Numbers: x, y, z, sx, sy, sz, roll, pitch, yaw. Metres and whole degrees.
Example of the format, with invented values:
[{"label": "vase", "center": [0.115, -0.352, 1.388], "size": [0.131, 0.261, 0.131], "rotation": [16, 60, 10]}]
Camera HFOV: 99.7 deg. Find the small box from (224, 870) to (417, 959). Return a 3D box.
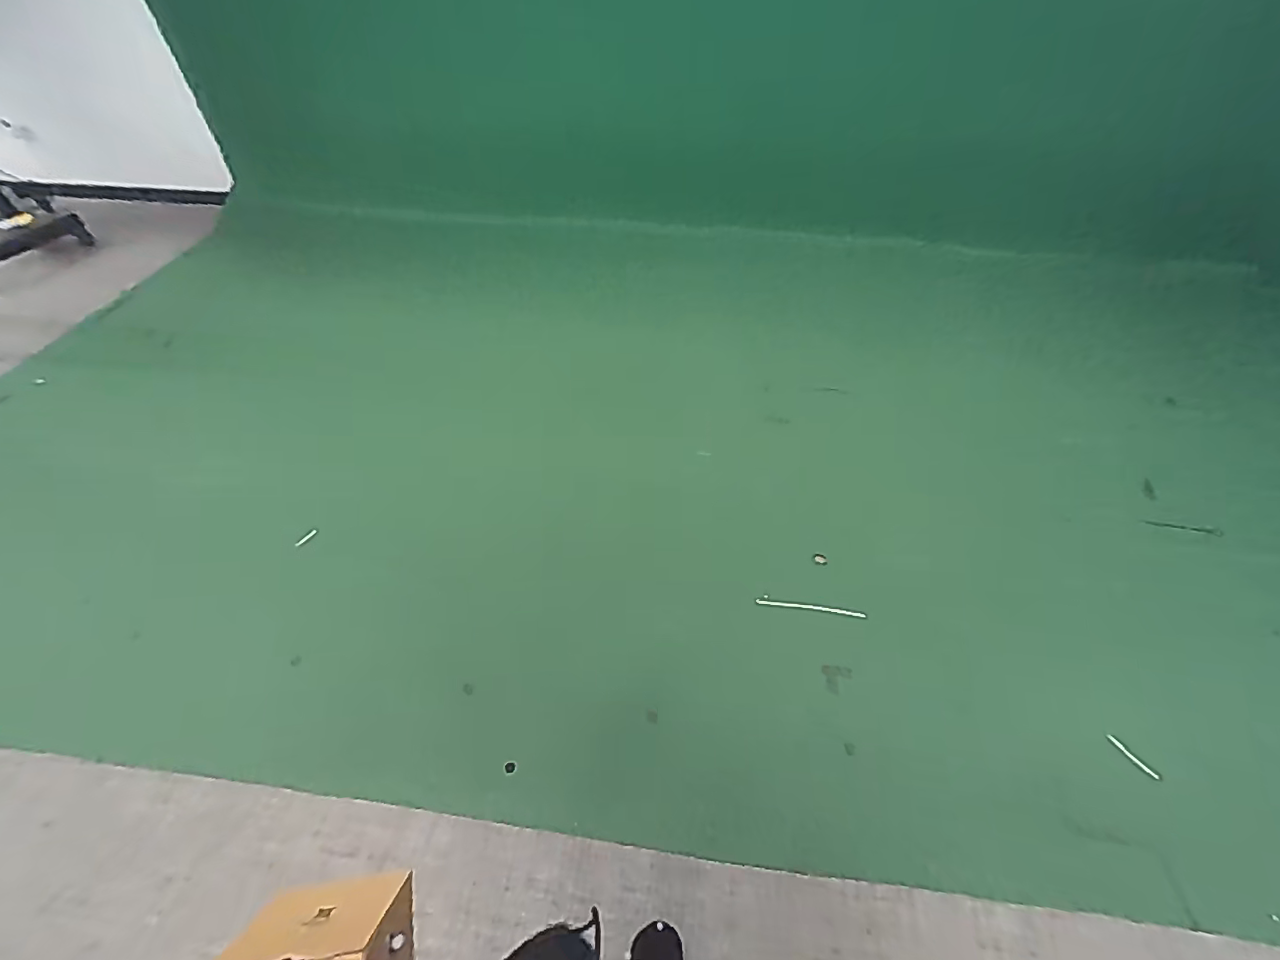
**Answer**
[{"label": "small box", "center": [-0.381, 0.621, 0.657], "size": [0.168, 0.179, 0.176], "rotation": [-5, 81, -6]}]
